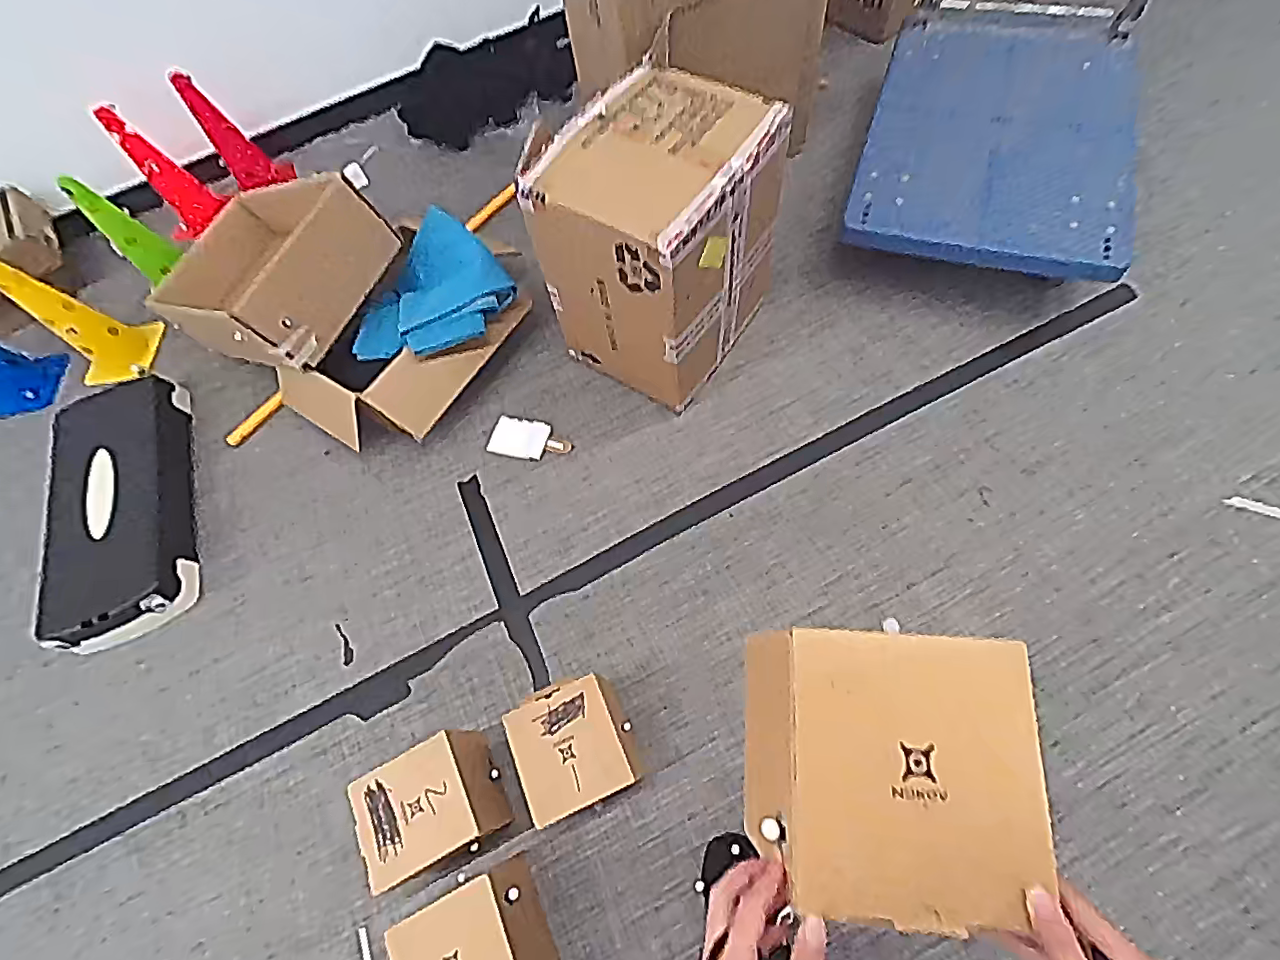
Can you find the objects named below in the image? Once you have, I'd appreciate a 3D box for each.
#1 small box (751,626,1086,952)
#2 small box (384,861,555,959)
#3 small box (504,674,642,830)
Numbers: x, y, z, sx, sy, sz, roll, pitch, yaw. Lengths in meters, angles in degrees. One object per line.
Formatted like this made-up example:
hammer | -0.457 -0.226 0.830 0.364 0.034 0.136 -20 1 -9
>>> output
small box | 0.183 0.210 0.416 0.168 0.176 0.179 4 74 1
small box | -0.247 0.708 0.811 0.168 0.176 0.179 -27 65 -5
small box | -0.107 0.453 0.915 0.168 0.176 0.179 -24 65 -5
